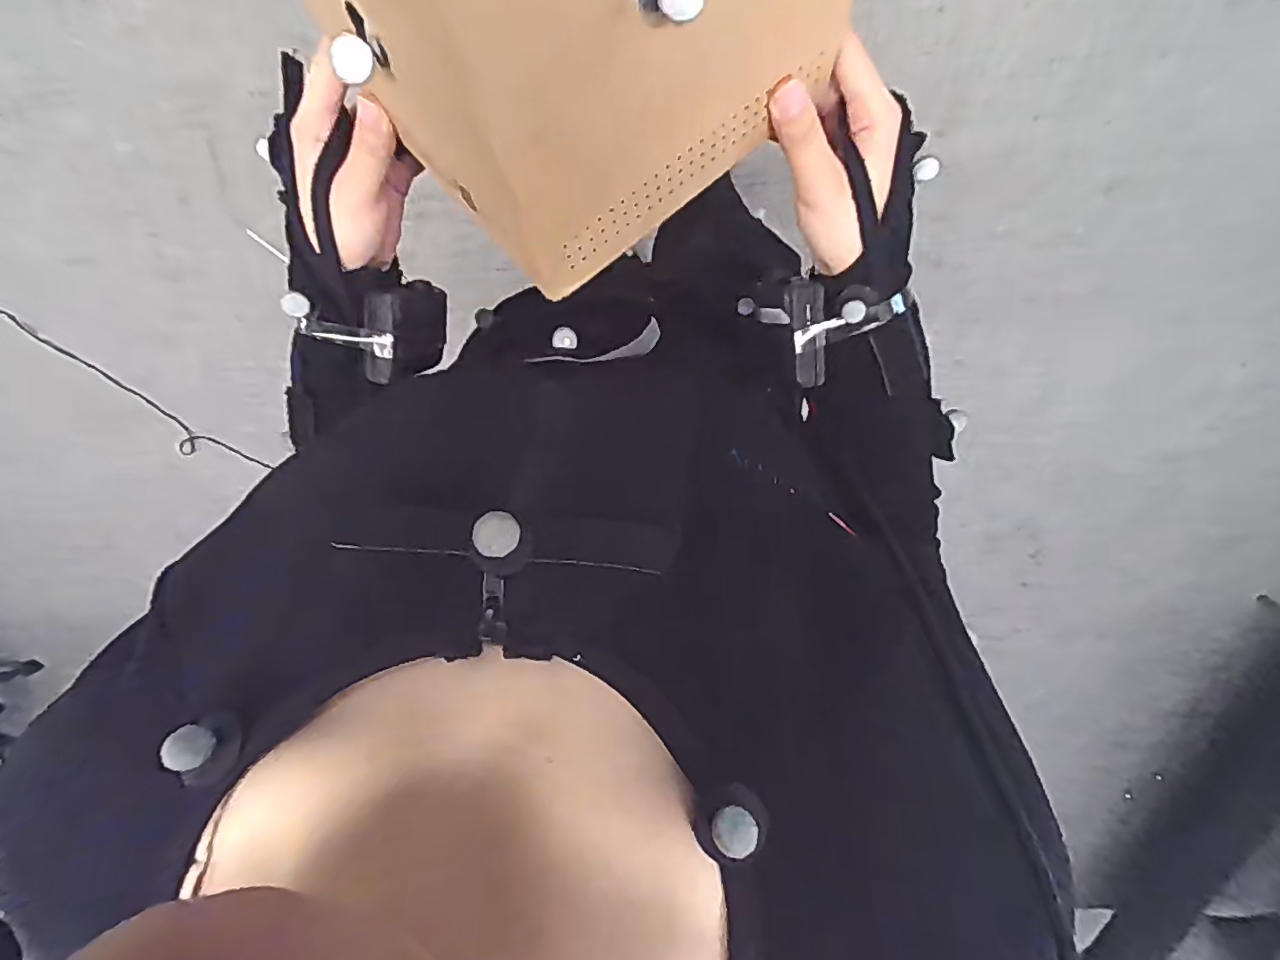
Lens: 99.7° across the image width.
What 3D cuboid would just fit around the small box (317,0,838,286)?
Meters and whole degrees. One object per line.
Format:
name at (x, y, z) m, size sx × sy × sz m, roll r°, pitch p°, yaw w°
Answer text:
small box at (-0.029, -0.212, 0.200) m, size 0.179 × 0.176 × 0.168 m, roll -41°, pitch 76°, yaw -6°
